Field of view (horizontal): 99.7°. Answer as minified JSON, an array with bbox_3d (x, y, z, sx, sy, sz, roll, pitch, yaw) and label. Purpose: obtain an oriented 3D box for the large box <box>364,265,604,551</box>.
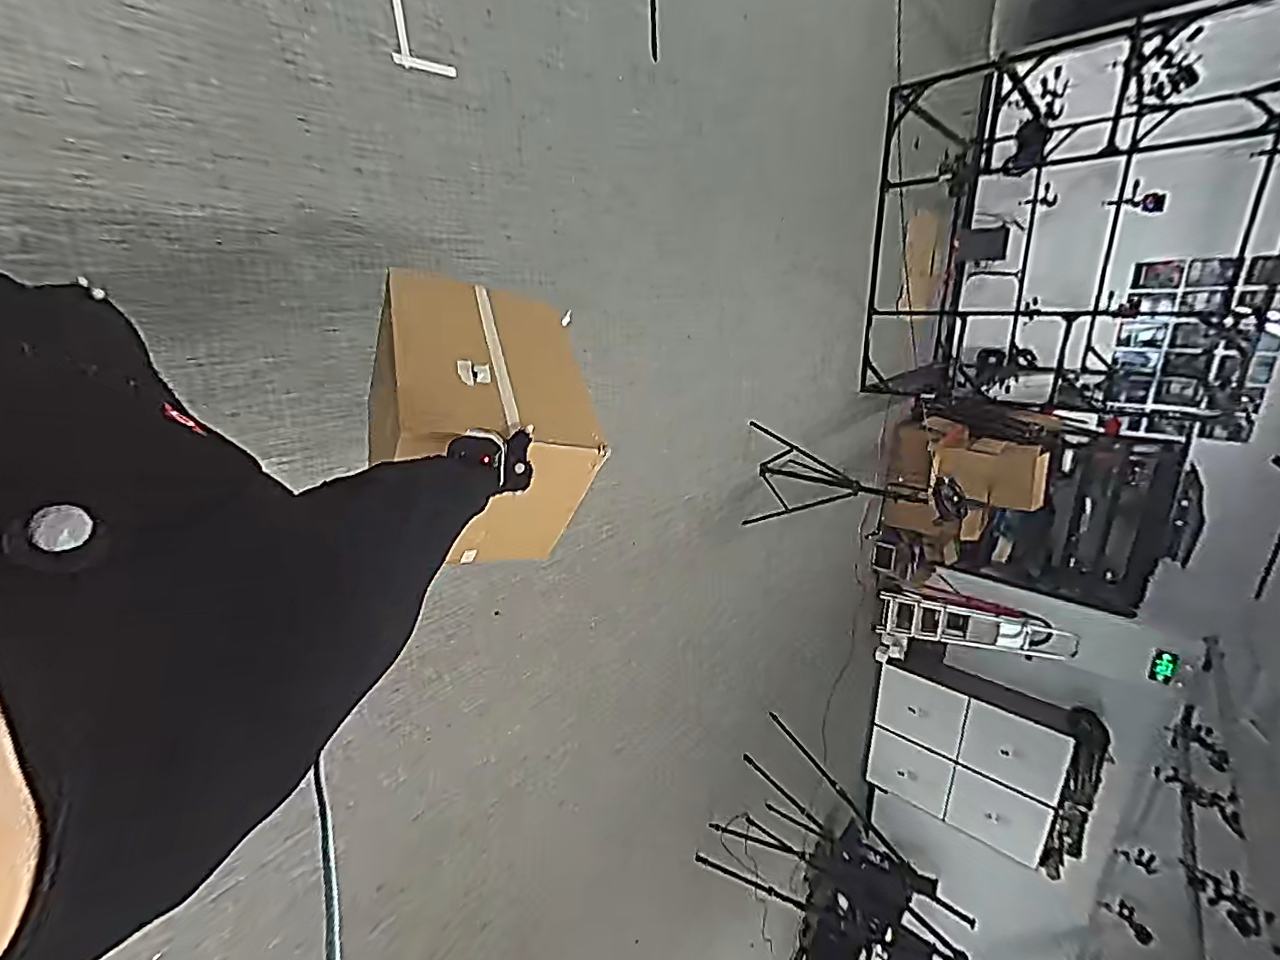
[{"bbox_3d":[-0.315,-0.119,1.002,0.320,0.408,0.320,3,139,-32],"label":"large box"}]
